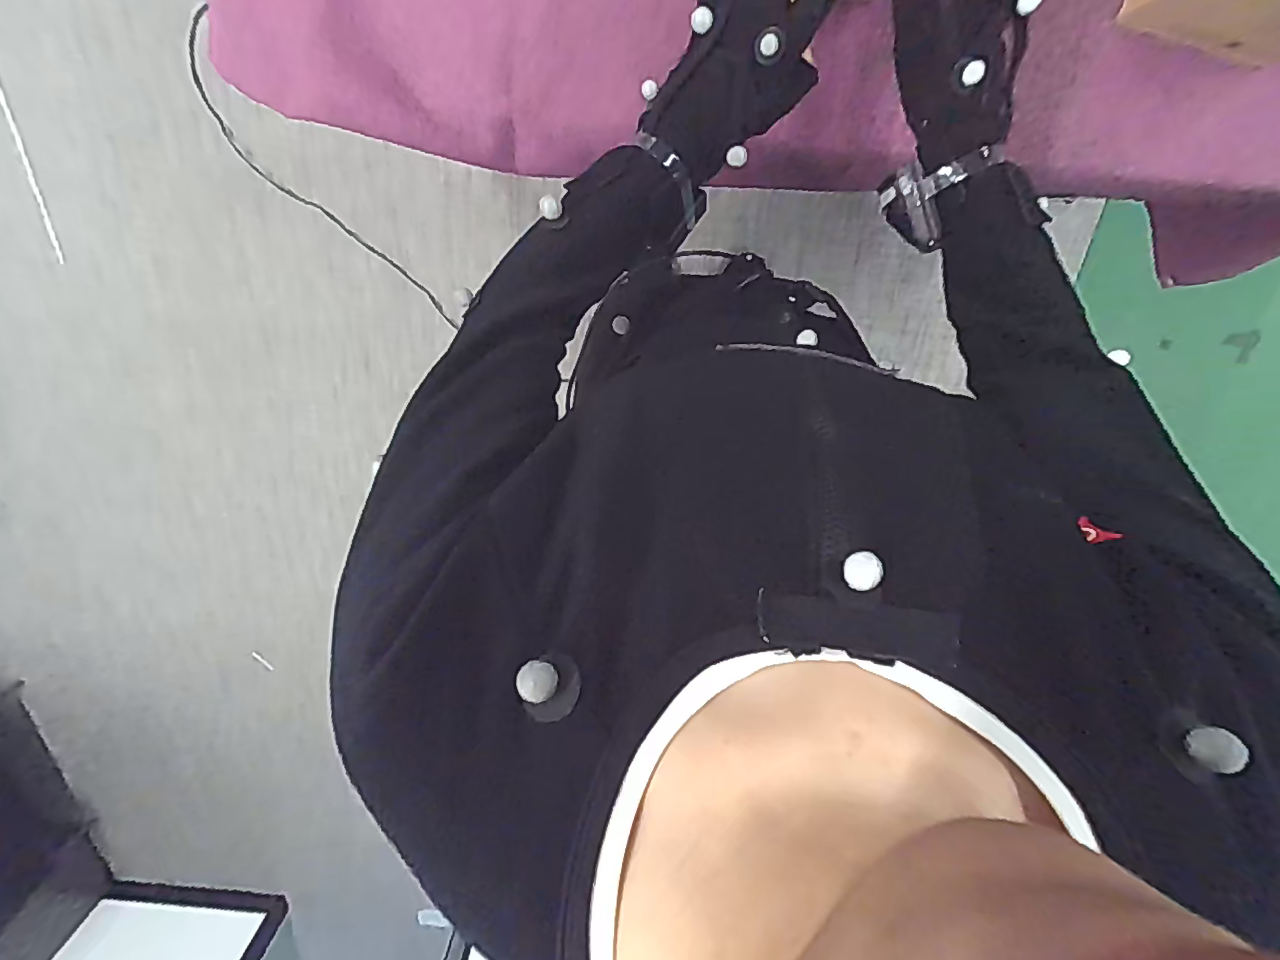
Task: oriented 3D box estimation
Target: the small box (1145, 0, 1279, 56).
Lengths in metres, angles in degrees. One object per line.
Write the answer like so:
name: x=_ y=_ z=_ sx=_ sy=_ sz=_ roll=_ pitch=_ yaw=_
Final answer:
small box: x=0.553 y=-0.467 z=0.414 sx=0.168 sy=0.176 sz=0.179 roll=15 pitch=114 yaw=-3
